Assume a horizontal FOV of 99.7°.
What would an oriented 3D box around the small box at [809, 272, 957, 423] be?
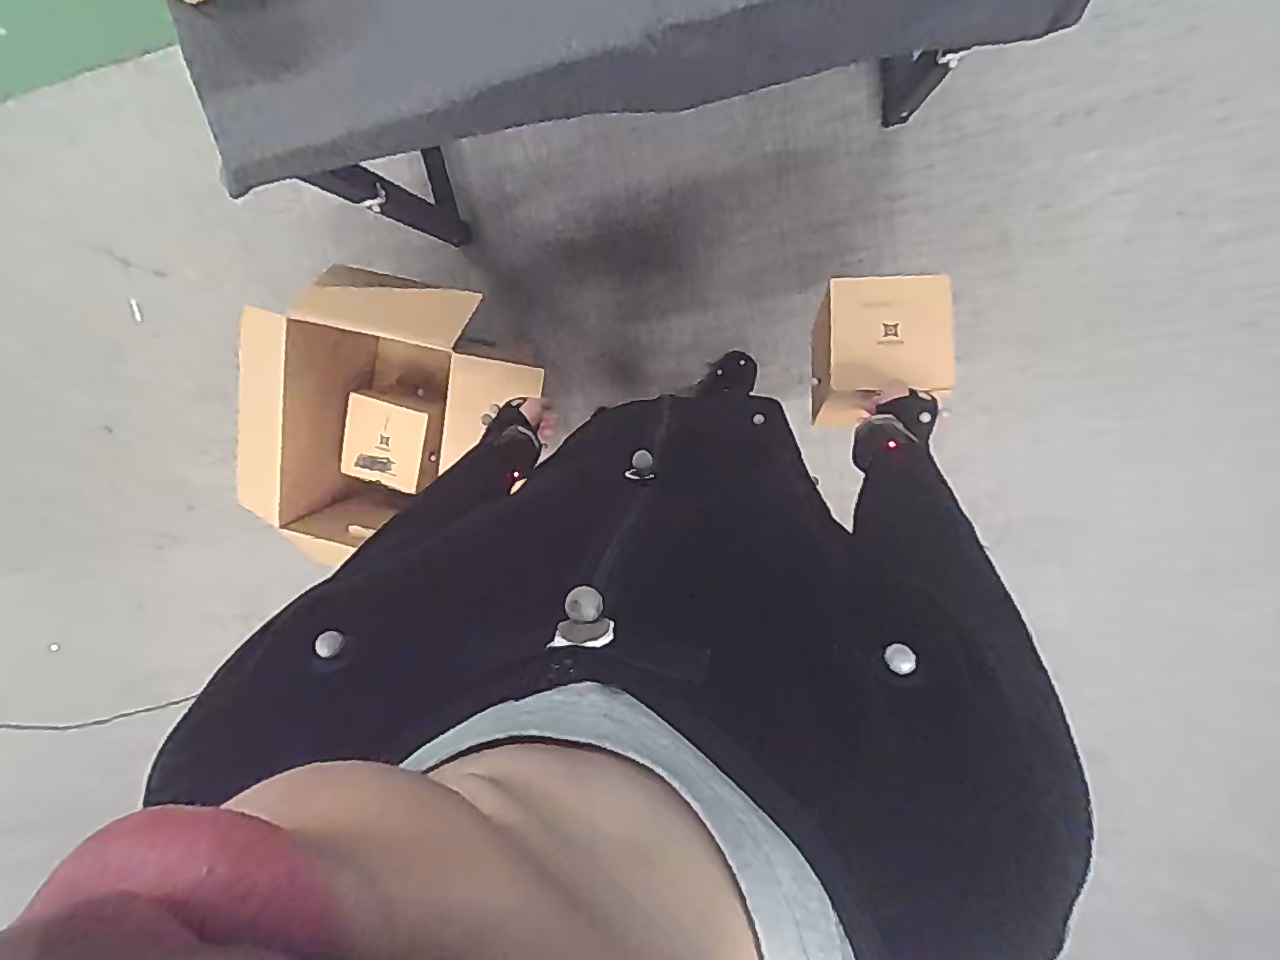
[{"bbox_3d":[0.358,-0.191,0.825,0.168,0.176,0.179,2,78,7],"label":"small box"}]
